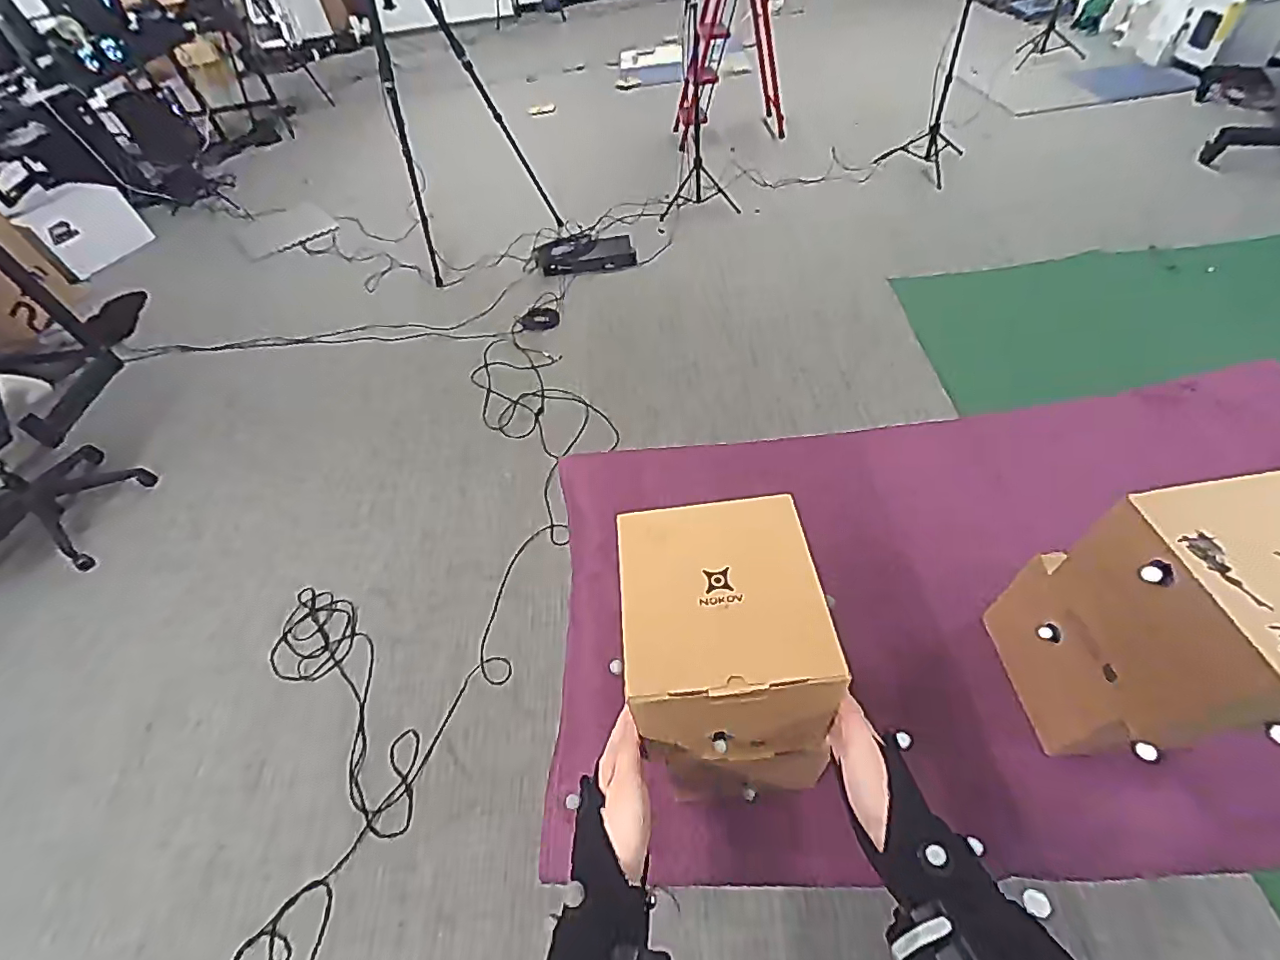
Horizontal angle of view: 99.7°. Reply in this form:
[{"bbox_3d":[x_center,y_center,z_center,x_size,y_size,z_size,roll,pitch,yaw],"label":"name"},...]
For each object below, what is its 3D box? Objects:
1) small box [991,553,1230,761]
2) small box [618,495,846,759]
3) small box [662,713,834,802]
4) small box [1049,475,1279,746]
[{"bbox_3d":[0.536,0.195,0.603,0.168,0.176,0.179,-6,50,4],"label":"small box"},{"bbox_3d":[0.068,0.137,0.501,0.168,0.176,0.179,-5,49,2],"label":"small box"},{"bbox_3d":[0.103,0.246,0.618,0.168,0.176,0.179,-7,49,2],"label":"small box"},{"bbox_3d":[0.511,0.113,0.461,0.179,0.176,0.168,-8,50,2],"label":"small box"}]
